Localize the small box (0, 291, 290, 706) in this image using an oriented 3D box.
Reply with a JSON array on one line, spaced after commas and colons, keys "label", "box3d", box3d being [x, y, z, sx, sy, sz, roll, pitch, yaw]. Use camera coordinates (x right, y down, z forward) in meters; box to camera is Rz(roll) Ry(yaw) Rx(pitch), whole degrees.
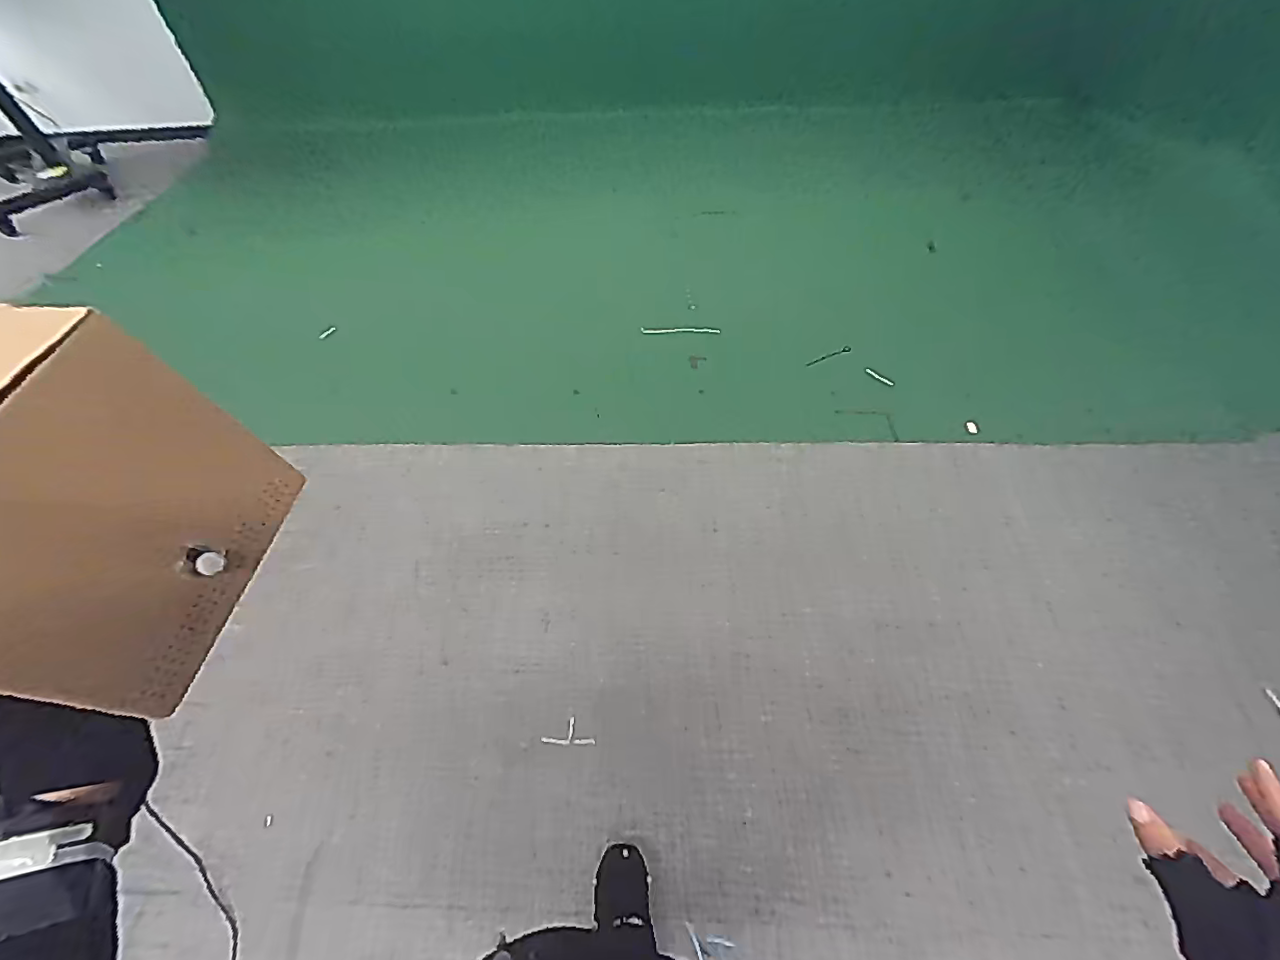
[{"label": "small box", "box3d": [-0.351, 0.013, 0.313, 0.168, 0.176, 0.179, 5, 59, 12]}]
